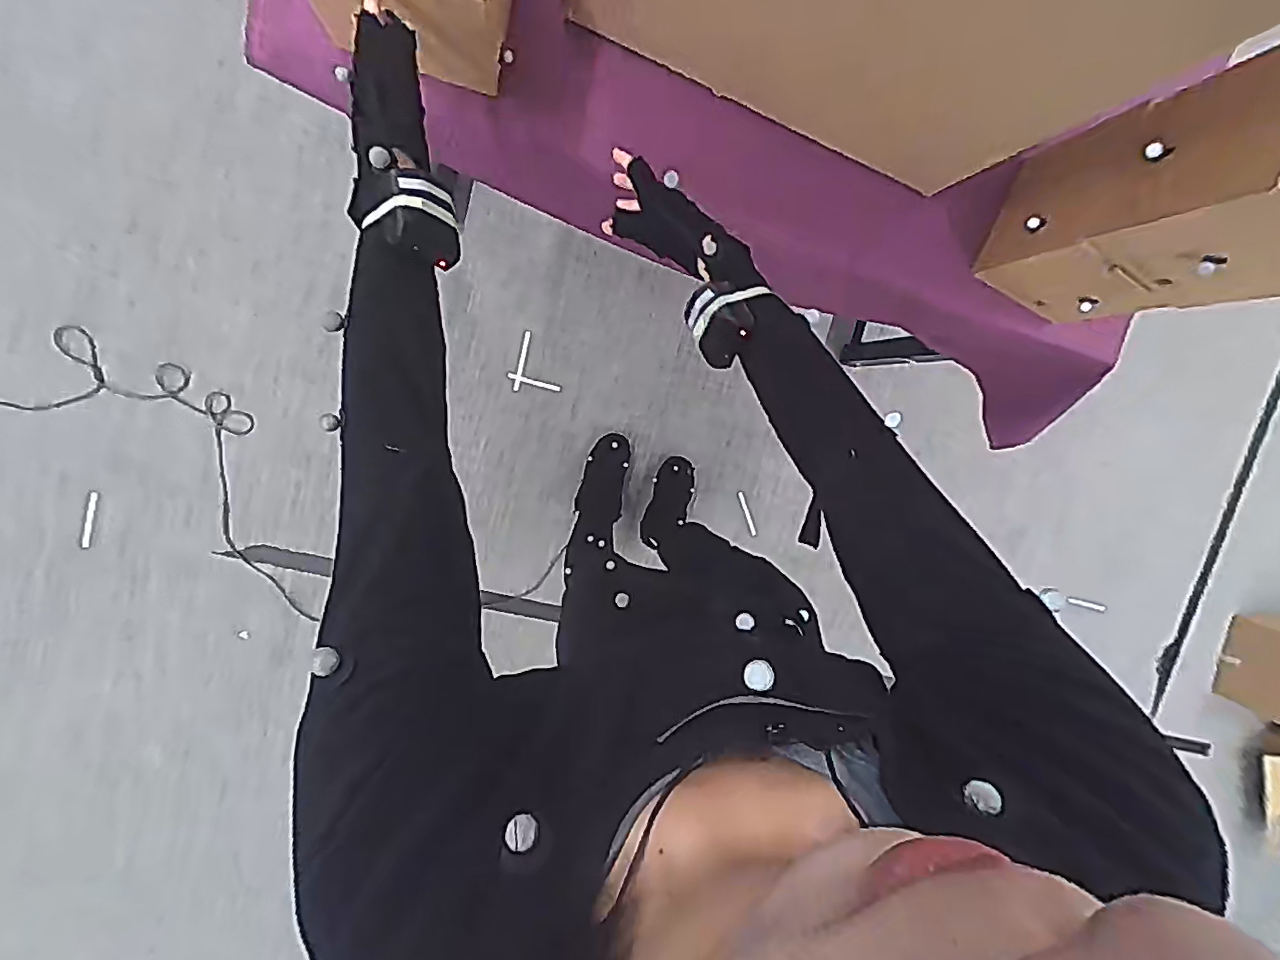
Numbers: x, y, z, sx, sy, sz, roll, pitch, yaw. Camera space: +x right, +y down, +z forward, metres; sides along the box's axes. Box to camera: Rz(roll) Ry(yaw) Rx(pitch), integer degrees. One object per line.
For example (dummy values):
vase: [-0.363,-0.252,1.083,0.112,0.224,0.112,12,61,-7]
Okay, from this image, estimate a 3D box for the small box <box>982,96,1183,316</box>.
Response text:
small box: [0.594,-0.333,0.704,0.168,0.176,0.179,22,93,-13]

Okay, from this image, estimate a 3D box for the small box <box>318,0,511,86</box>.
small box: [-0.214,-0.528,0.522,0.179,0.176,0.168,10,96,-12]

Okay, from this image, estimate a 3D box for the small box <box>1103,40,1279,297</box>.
small box: [0.631,-0.308,0.546,0.168,0.176,0.179,26,94,-14]
